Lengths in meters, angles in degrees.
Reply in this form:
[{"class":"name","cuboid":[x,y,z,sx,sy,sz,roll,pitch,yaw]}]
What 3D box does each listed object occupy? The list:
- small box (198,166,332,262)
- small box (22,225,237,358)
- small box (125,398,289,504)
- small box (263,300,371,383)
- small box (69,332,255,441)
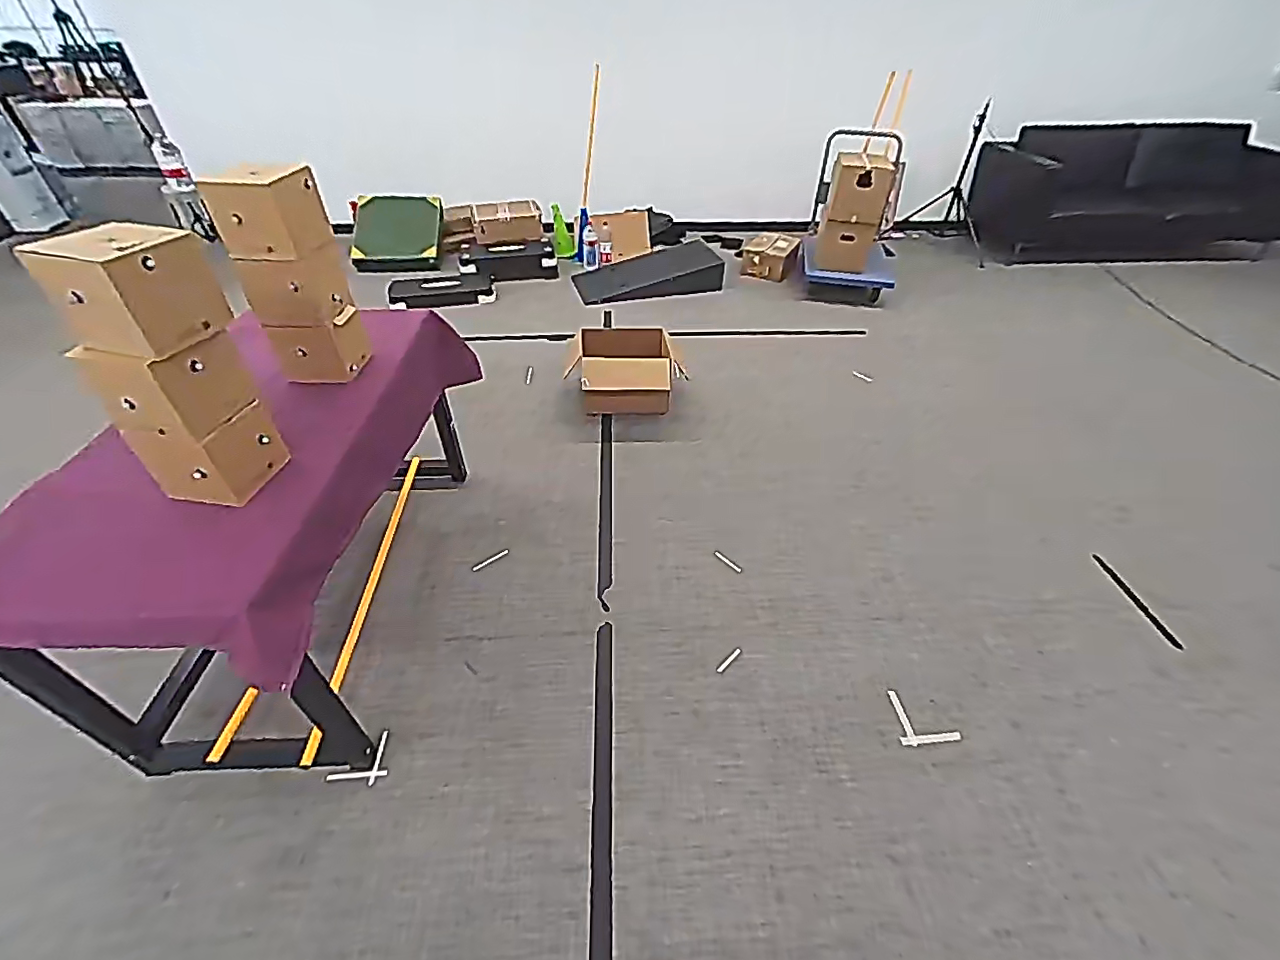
[{"class":"small box","cuboid":[-0.862,-0.624,1.268,0.168,0.176,0.179,3,41,2]},{"class":"small box","cuboid":[-0.865,-0.327,0.936,0.179,0.176,0.168,10,41,11]},{"class":"small box","cuboid":[-0.890,-0.066,1.136,0.179,0.176,0.168,6,41,7]},{"class":"small box","cuboid":[-0.870,-0.377,1.481,0.179,0.176,0.168,0,42,1]},{"class":"small box","cuboid":[-0.889,-0.193,1.032,0.168,0.176,0.179,8,41,7]}]
